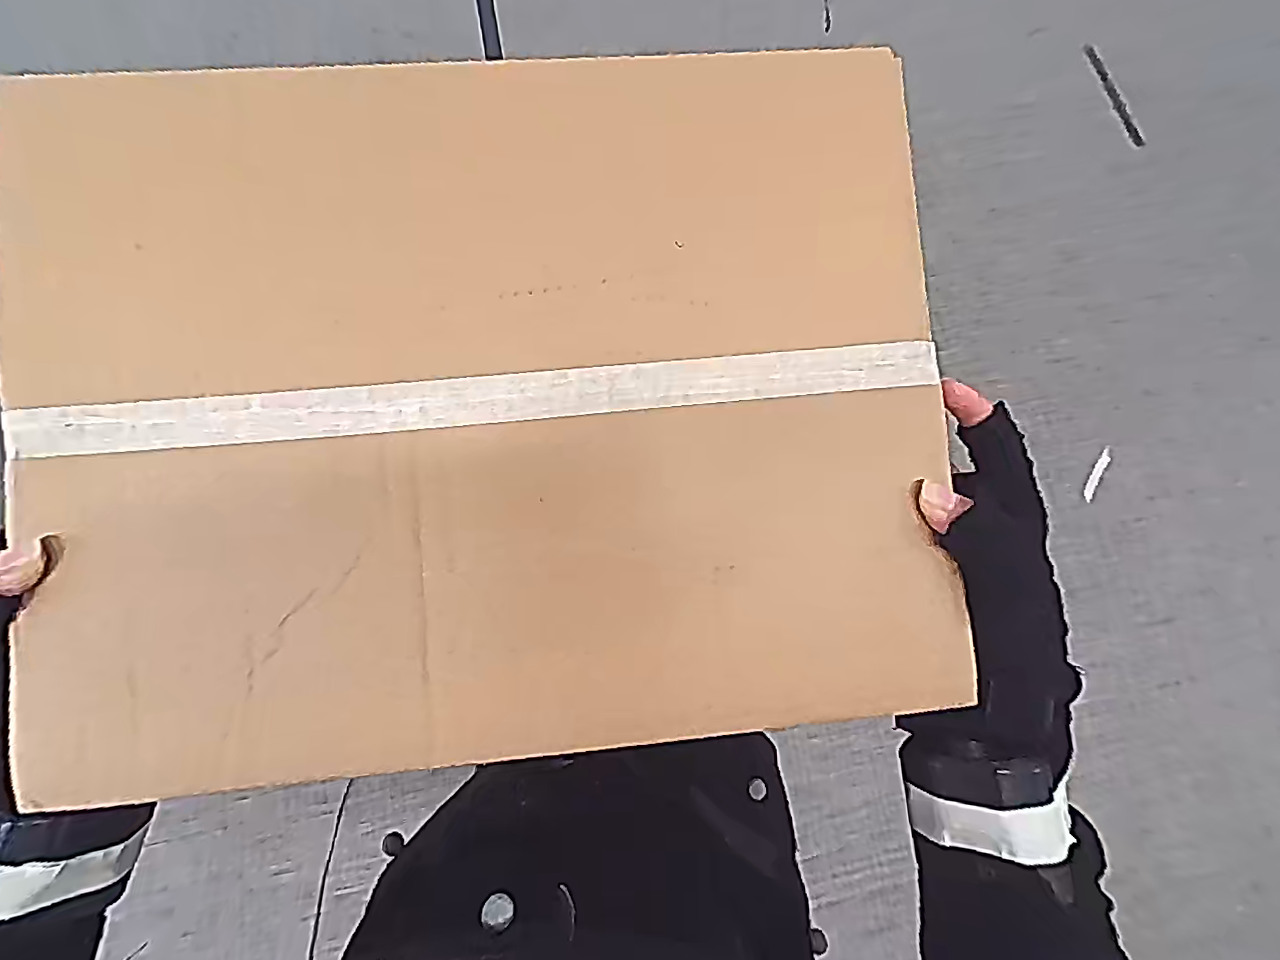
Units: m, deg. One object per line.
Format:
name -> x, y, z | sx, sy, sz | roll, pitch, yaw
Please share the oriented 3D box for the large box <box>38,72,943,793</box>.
large box -> -0.071, -0.027, 0.401 | 0.408, 0.320, 0.320 | -5, 86, -4
